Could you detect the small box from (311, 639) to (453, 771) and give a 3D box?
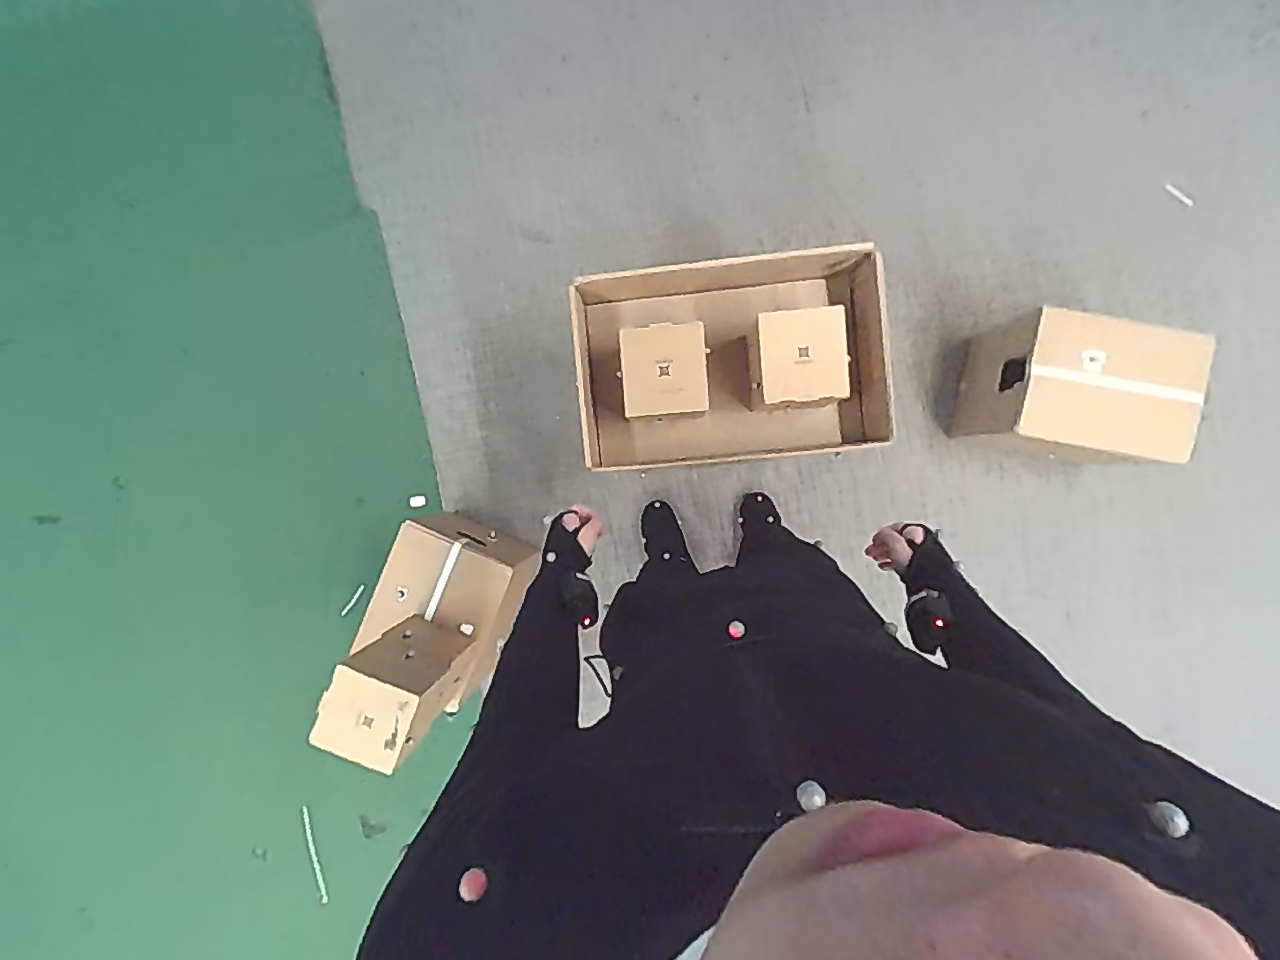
[{"bbox_3d":[-0.516,0.446,1.104,0.179,0.176,0.168,22,92,2],"label":"small box"}]

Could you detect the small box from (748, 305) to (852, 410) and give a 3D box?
[{"bbox_3d":[0.320,-0.244,1.110,0.168,0.176,0.179,-5,93,3],"label":"small box"}]

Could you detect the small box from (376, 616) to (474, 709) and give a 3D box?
[{"bbox_3d":[-0.520,0.438,1.268,0.179,0.176,0.168,22,92,0],"label":"small box"}]

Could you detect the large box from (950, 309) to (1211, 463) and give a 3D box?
[{"bbox_3d":[1.121,-0.227,1.424,0.408,0.320,0.320,11,91,3],"label":"large box"}]
